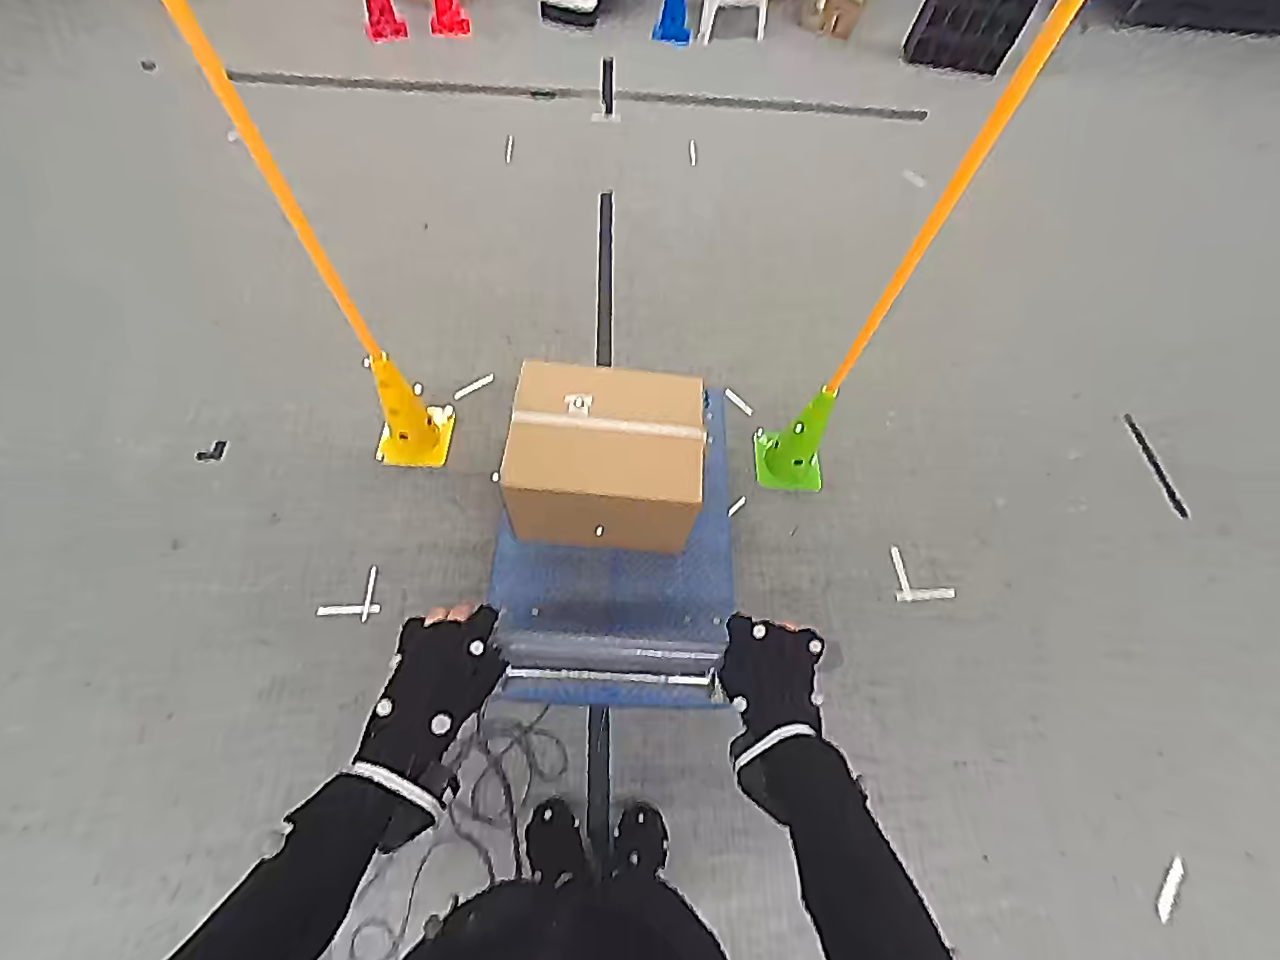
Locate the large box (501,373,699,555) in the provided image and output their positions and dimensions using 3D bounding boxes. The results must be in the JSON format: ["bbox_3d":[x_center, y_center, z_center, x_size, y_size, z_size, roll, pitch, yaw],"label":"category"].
[{"bbox_3d":[-0.079,-0.024,1.281,0.408,0.320,0.320,5,62,-2],"label":"large box"}]

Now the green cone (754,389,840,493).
[{"bbox_3d":[0.476,-0.133,1.549,0.202,0.368,0.200,5,62,-4],"label":"green cone"}]
